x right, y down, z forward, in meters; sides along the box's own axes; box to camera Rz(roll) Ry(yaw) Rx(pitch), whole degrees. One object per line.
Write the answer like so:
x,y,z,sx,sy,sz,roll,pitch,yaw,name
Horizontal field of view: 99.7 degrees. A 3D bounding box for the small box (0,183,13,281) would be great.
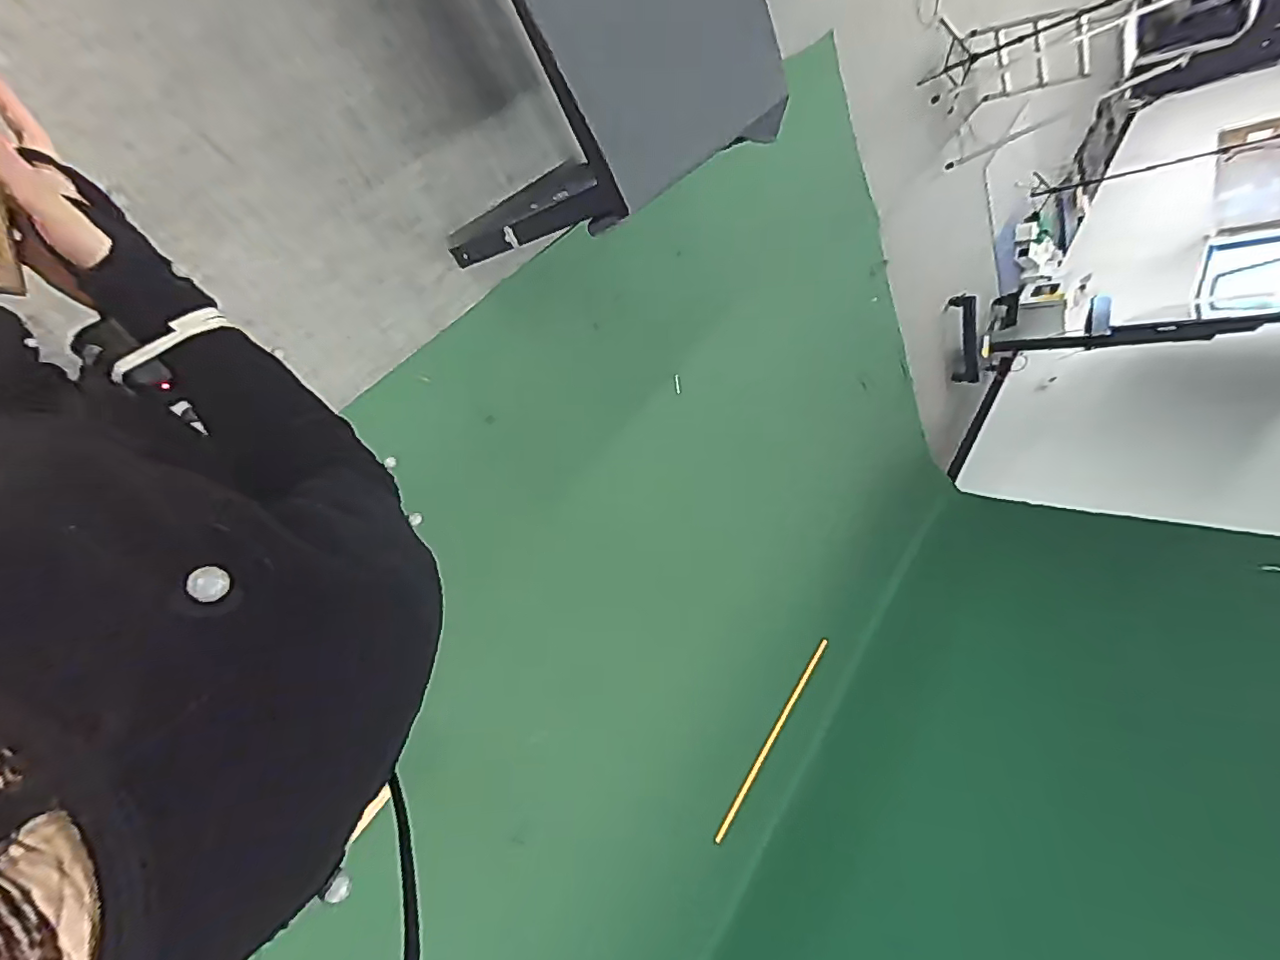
-0.456,-0.203,0.270,0.168,0.176,0.179,-11,109,-45,small box
